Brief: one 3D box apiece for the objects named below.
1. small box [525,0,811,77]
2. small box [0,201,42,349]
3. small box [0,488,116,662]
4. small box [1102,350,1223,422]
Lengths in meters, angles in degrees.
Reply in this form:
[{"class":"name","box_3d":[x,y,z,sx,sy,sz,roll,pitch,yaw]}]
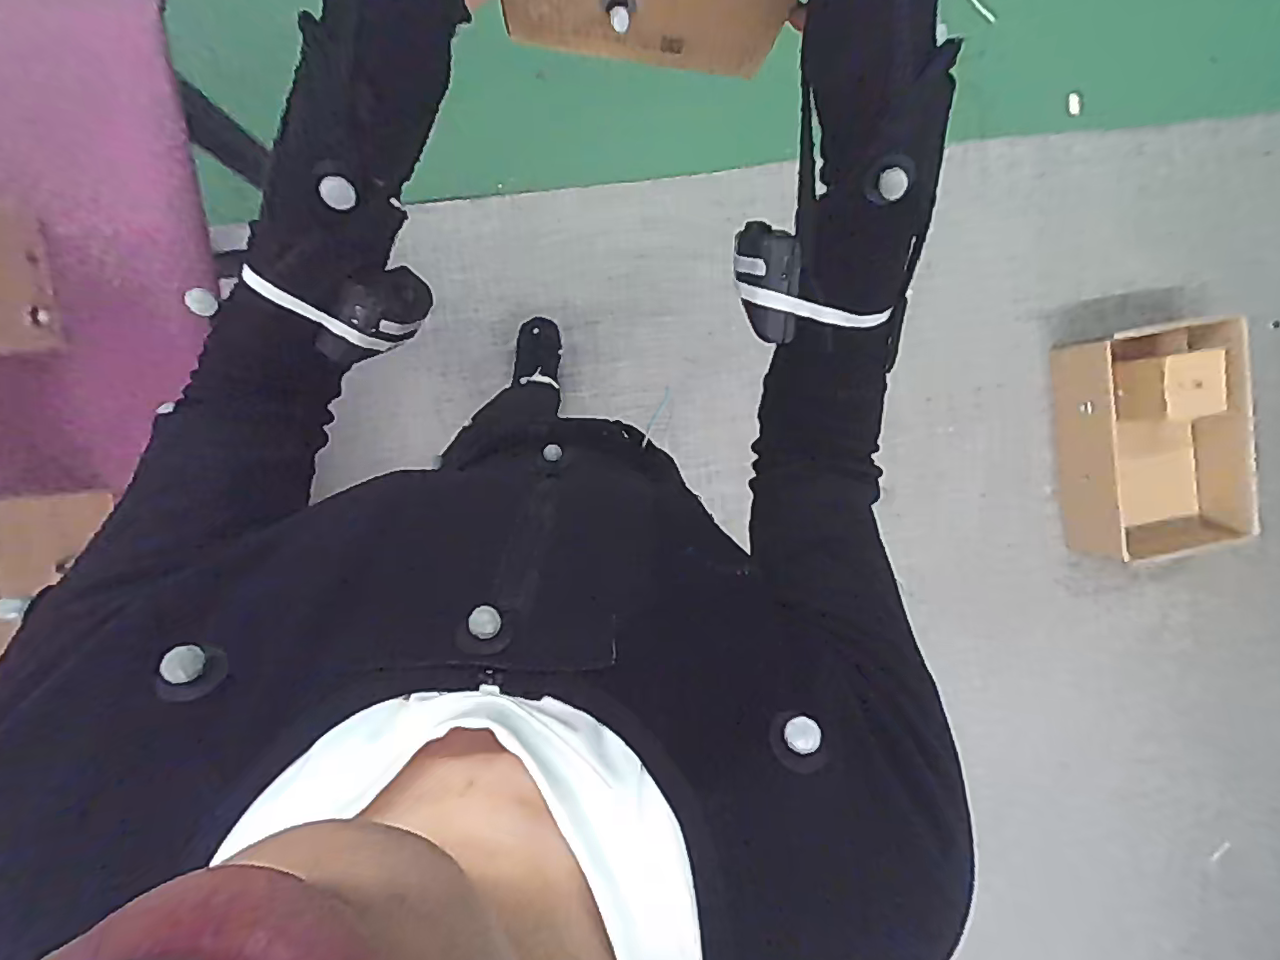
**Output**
[{"class":"small box","box_3d":[0.022,-0.344,0.260,0.168,0.176,0.179,5,103,-7]},{"class":"small box","box_3d":[-0.798,-0.232,0.568,0.179,0.176,0.168,-3,95,-5]},{"class":"small box","box_3d":[-0.750,0.103,0.611,0.179,0.176,0.168,-4,96,-5]},{"class":"small box","box_3d":[1.402,-0.250,1.458,0.179,0.176,0.168,-9,97,-5]}]
